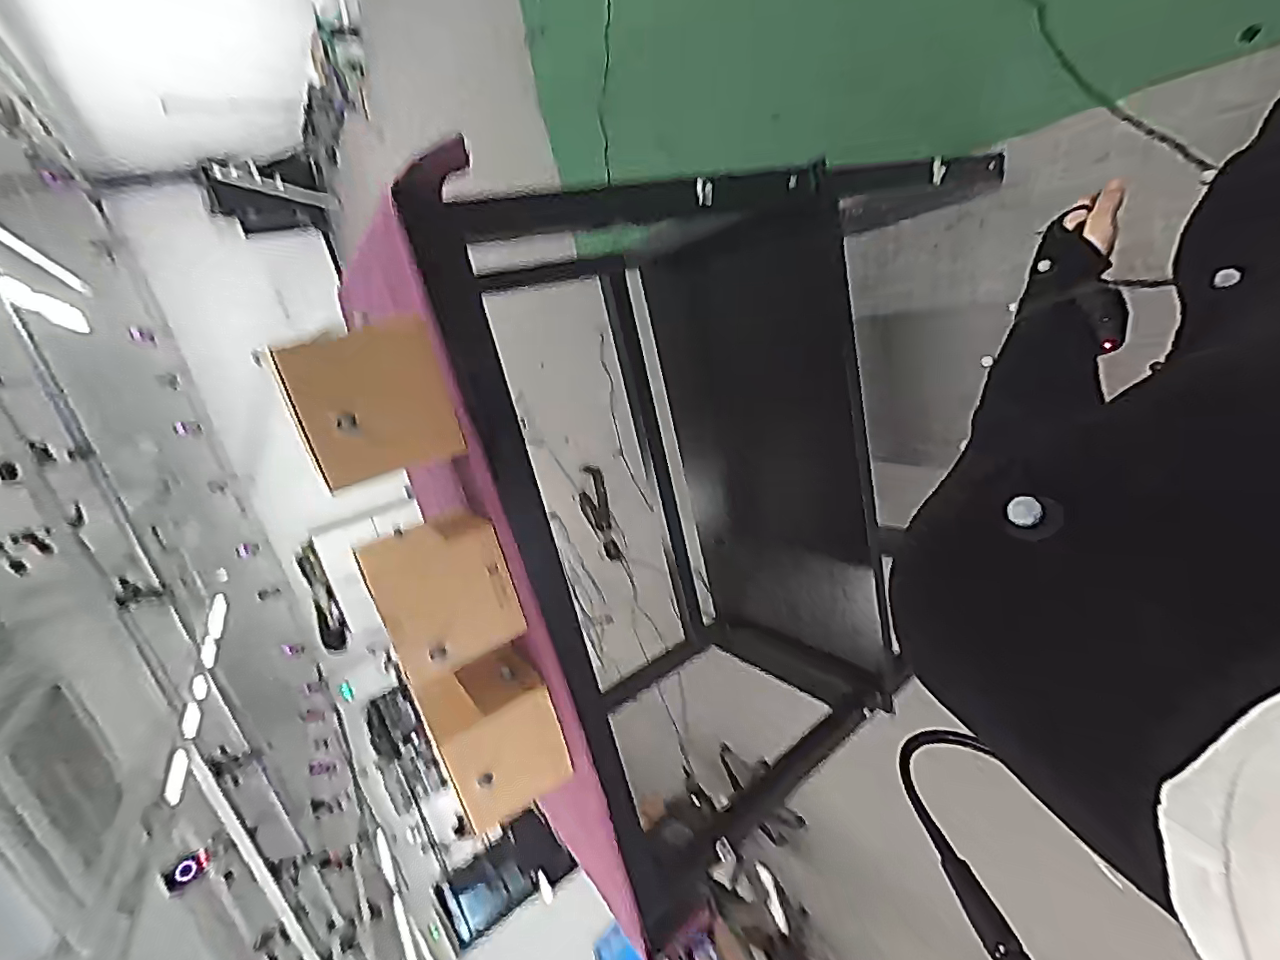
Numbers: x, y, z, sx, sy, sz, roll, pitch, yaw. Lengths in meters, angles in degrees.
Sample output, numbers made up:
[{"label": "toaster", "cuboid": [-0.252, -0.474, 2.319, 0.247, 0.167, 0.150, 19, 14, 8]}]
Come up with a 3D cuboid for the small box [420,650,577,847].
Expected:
[{"label": "small box", "cuboid": [-0.216, 0.402, 0.840, 0.168, 0.176, 0.179, 15, 121, 55]}]

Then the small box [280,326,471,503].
[{"label": "small box", "cuboid": [-0.341, -0.092, 0.708, 0.168, 0.176, 0.179, 15, 123, 53]}]
